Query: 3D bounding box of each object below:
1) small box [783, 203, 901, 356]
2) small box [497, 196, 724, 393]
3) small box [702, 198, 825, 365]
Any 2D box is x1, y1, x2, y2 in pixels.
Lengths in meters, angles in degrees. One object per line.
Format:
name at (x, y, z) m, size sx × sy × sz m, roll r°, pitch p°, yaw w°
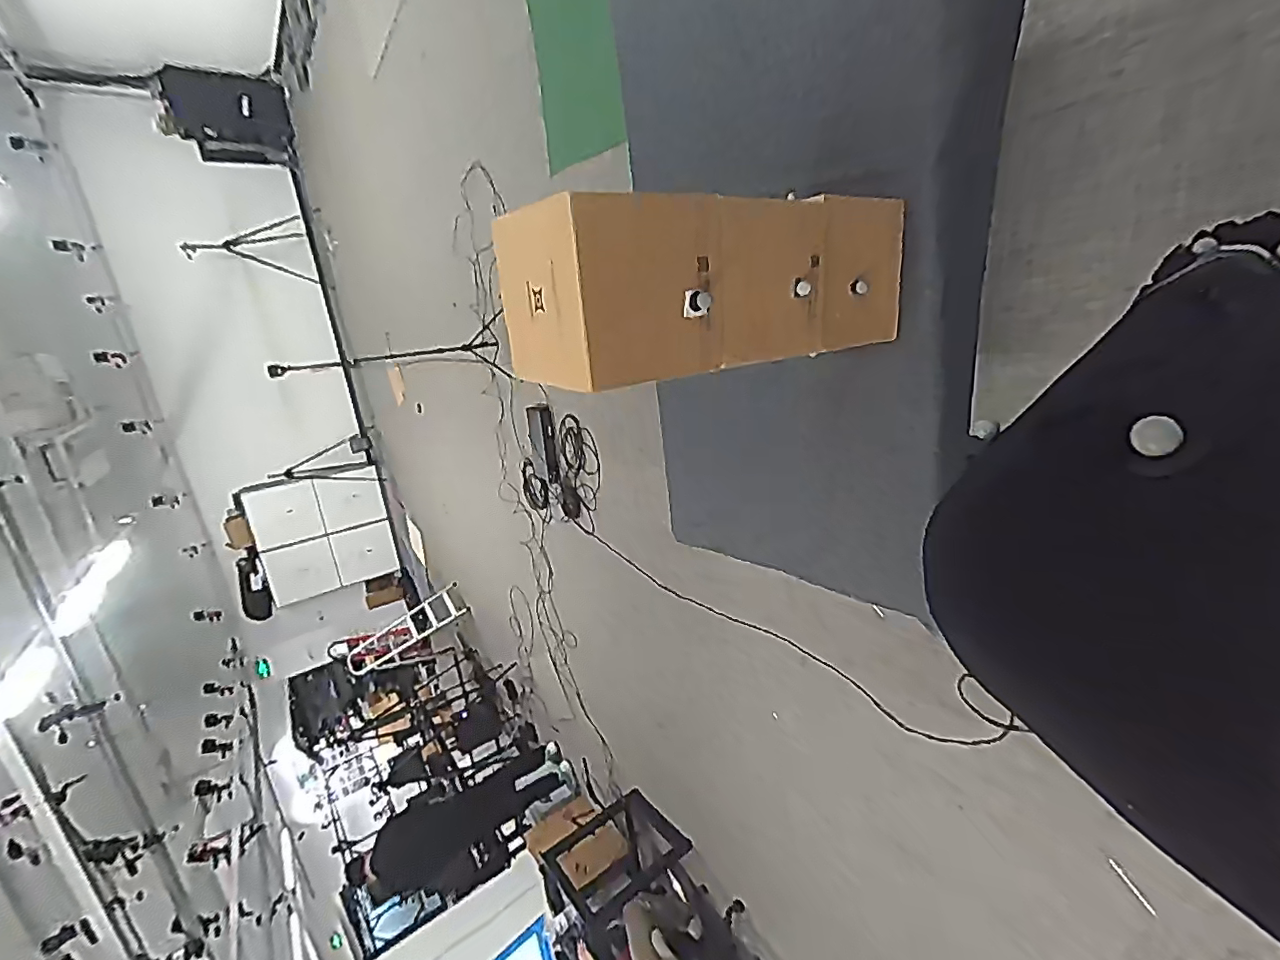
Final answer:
small box at (0.236, -0.273, 0.747) m, size 0.168 × 0.176 × 0.179 m, roll 20°, pitch 121°, yaw 53°
small box at (-0.031, -0.195, 0.577) m, size 0.179 × 0.176 × 0.168 m, roll 21°, pitch 122°, yaw 51°
small box at (0.100, -0.236, 0.663) m, size 0.179 × 0.176 × 0.168 m, roll 20°, pitch 121°, yaw 55°
